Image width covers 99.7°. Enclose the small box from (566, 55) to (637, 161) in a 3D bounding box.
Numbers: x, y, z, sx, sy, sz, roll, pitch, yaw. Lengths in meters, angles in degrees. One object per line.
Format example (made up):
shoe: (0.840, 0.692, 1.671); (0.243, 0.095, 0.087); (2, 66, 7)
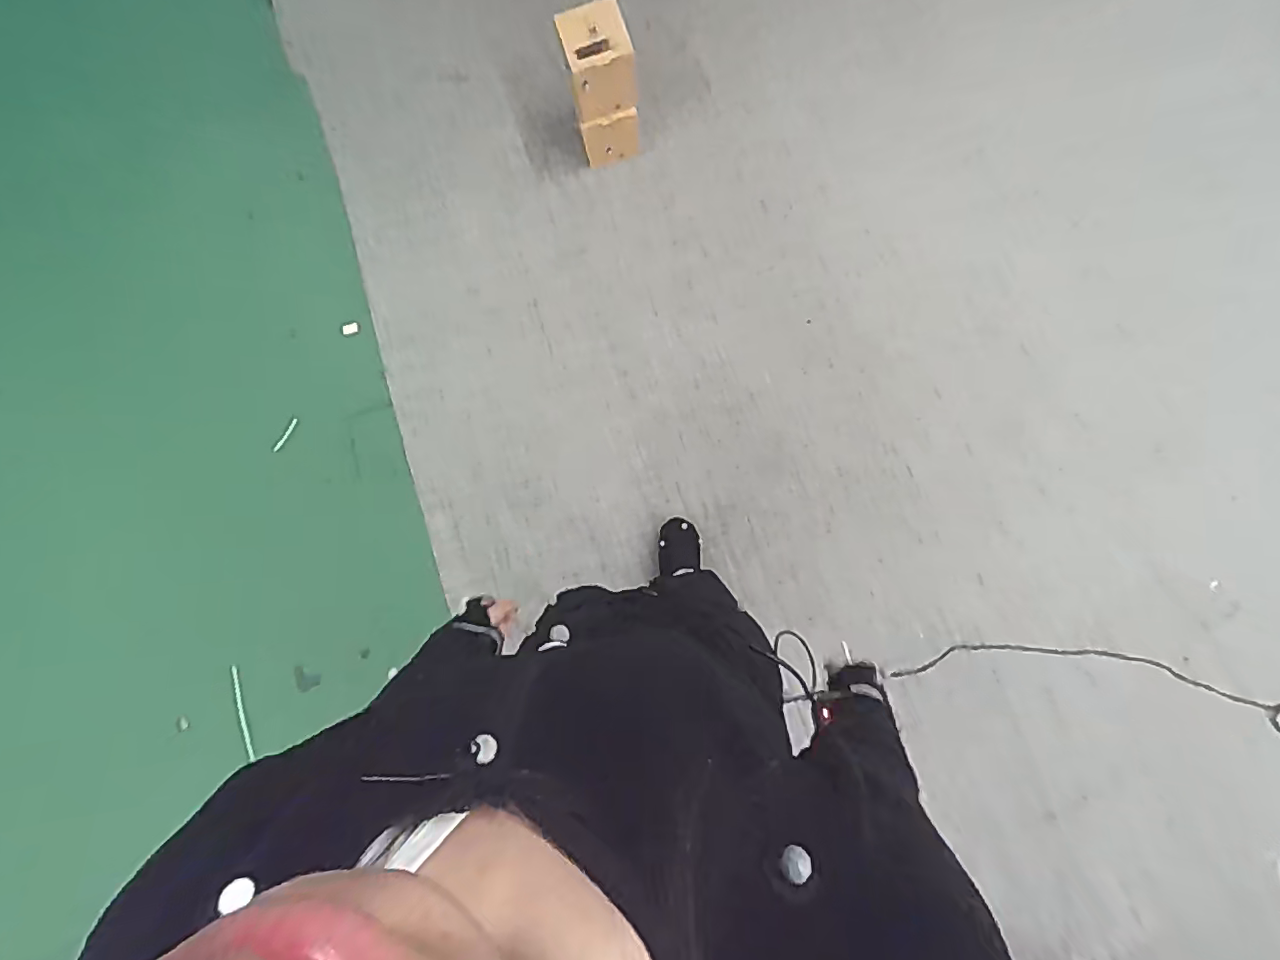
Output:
small box: (-0.109, -1.086, 1.590); (0.168, 0.176, 0.179); (-14, 83, 2)
